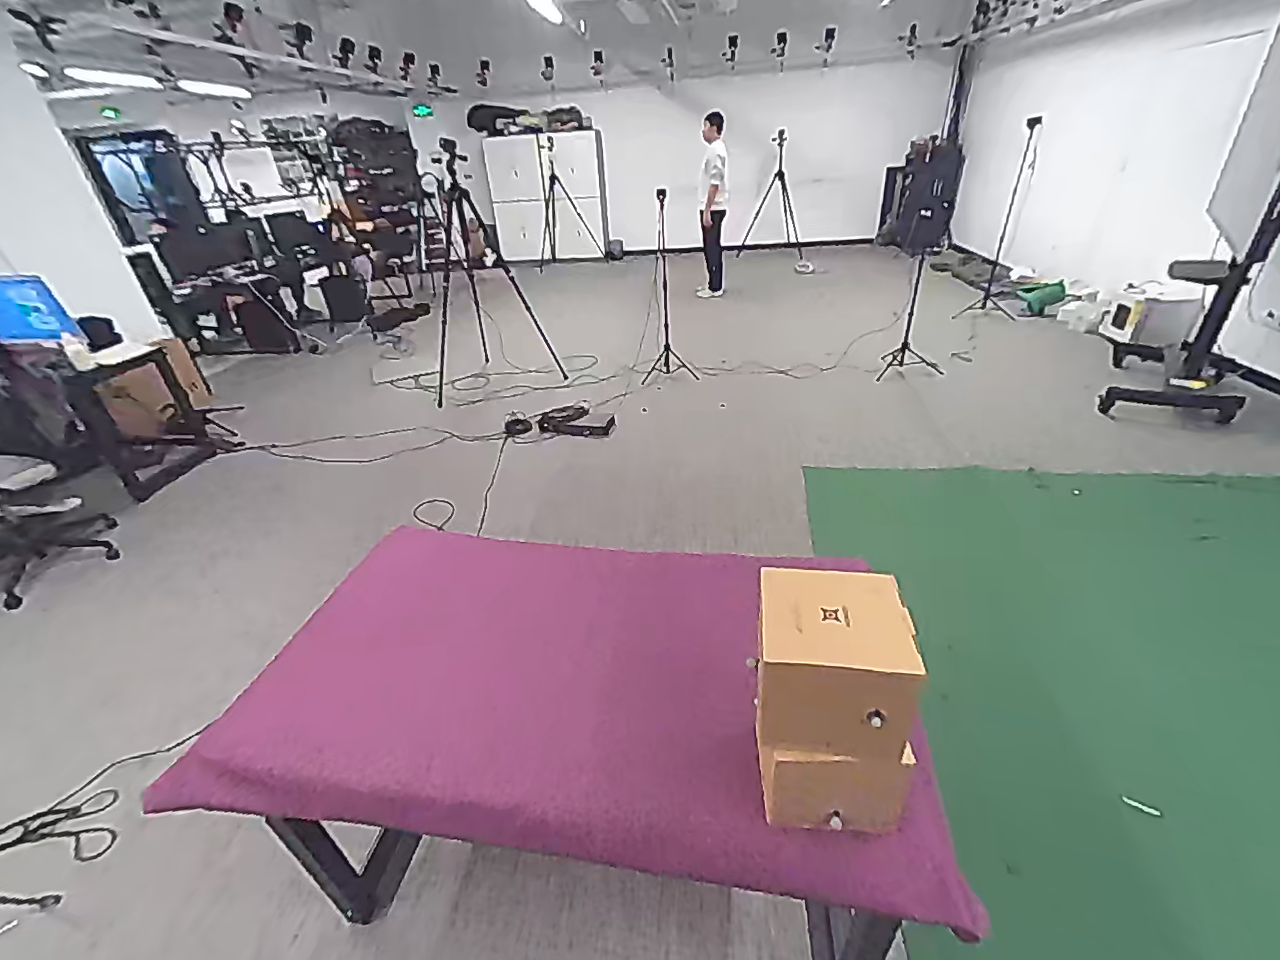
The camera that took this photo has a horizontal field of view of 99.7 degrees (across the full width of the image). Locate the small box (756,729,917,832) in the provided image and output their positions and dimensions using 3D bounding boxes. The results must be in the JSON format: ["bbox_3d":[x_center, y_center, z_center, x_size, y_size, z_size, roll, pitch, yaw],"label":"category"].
[{"bbox_3d":[0.267,0.379,0.779,0.179,0.176,0.168,-1,31,6],"label":"small box"}]

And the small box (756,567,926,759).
[{"bbox_3d":[0.244,0.235,0.704,0.179,0.176,0.168,1,32,12],"label":"small box"}]
